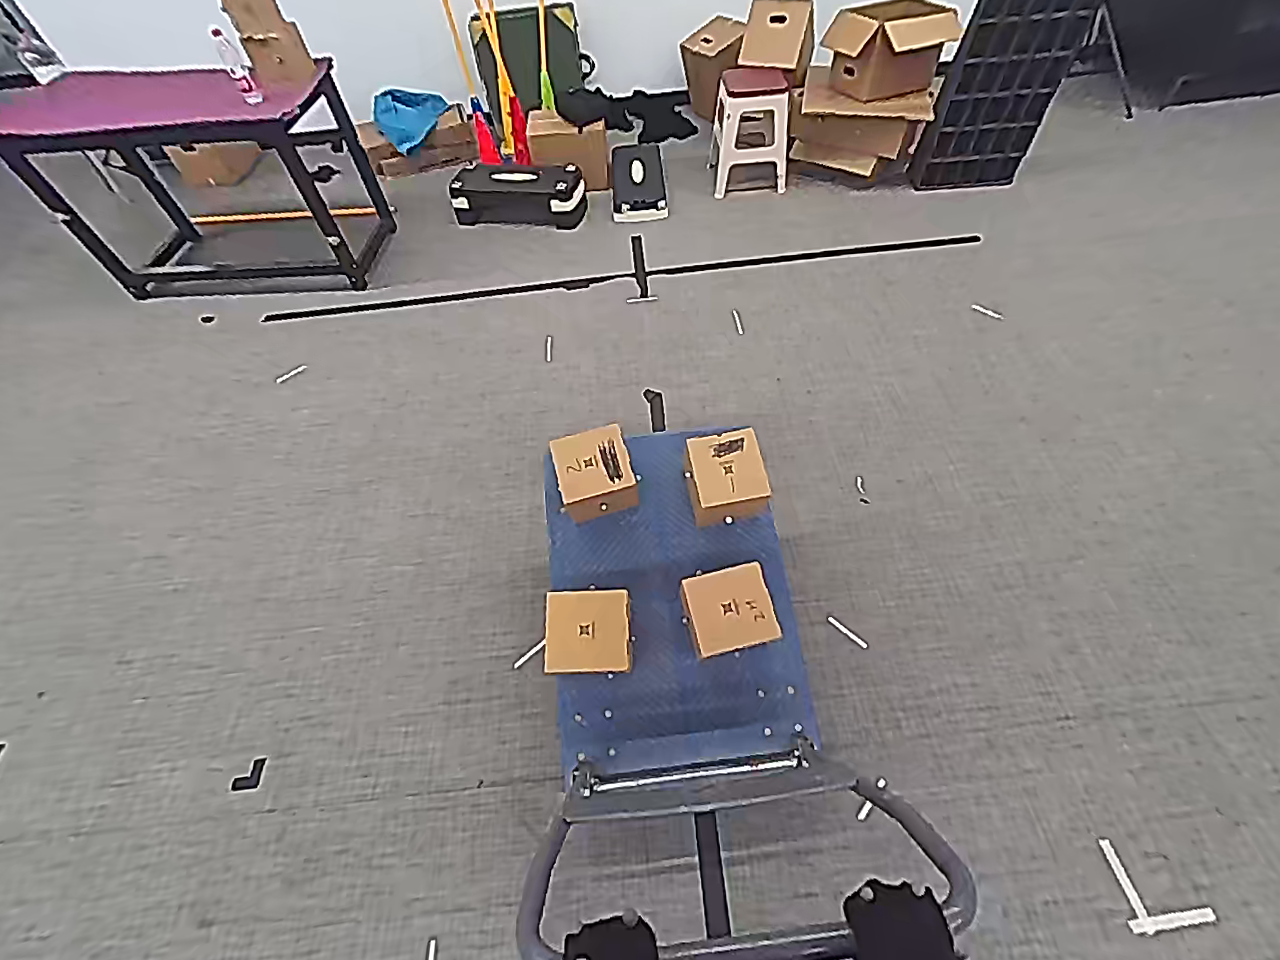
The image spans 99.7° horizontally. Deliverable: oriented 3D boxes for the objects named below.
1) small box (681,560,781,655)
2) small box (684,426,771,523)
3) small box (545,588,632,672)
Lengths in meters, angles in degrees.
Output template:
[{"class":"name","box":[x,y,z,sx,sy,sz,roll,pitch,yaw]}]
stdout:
[{"class":"small box","box":[0.196,0.293,1.217,0.179,0.176,0.168,-13,71,-3]},{"class":"small box","box":[0.206,-0.009,1.326,0.168,0.176,0.179,-11,71,-2]},{"class":"small box","box":[-0.109,0.339,1.212,0.179,0.176,0.168,-2,70,0]}]
